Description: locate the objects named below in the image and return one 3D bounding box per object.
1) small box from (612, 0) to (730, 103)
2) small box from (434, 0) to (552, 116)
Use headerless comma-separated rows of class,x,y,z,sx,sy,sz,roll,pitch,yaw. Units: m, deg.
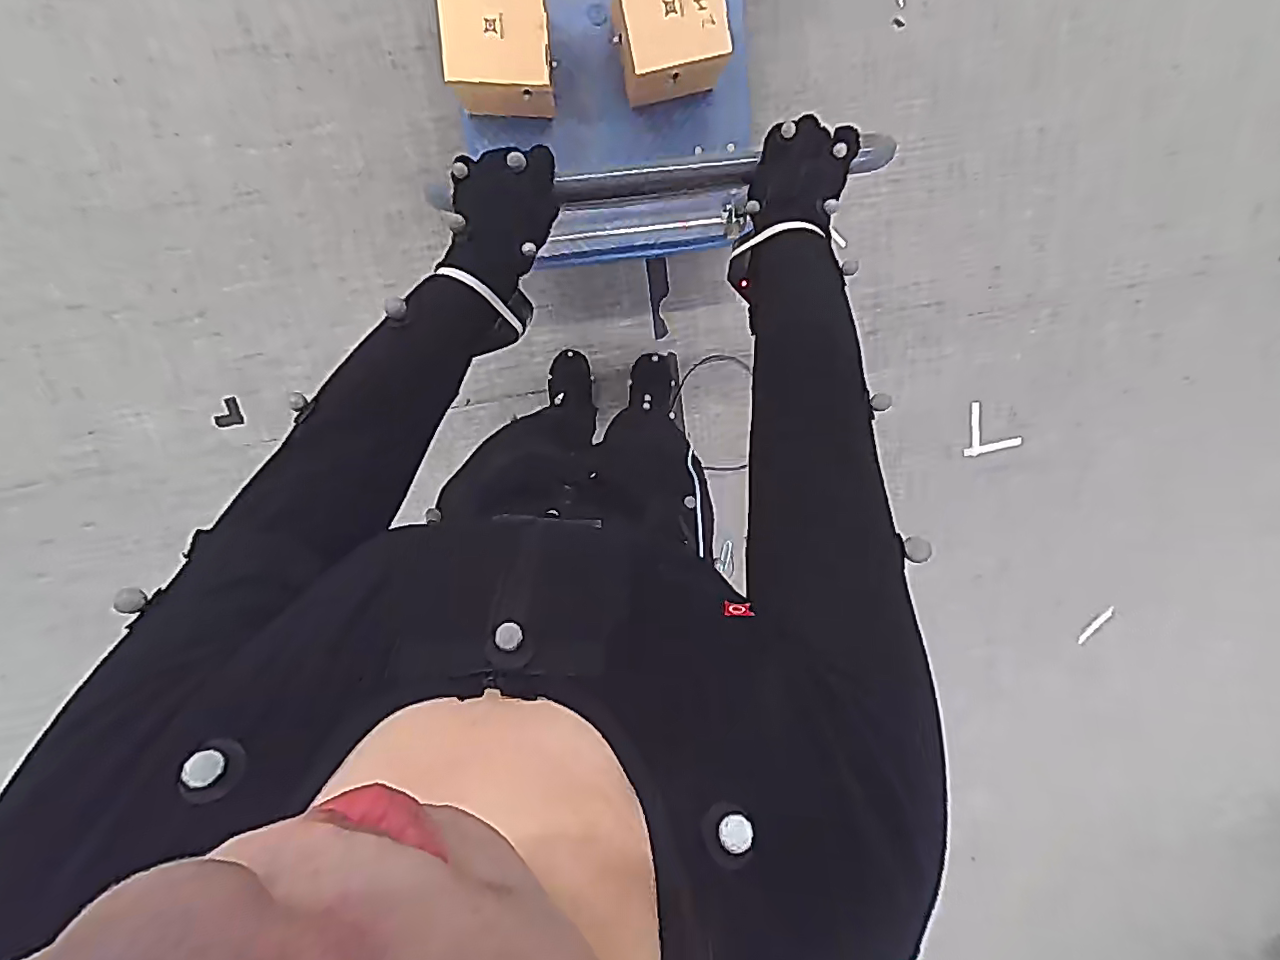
small box,0.048,-0.813,0.975,0.179,0.176,0.168,-14,109,-1
small box,-0.253,-0.770,0.962,0.179,0.176,0.168,-2,108,-6
